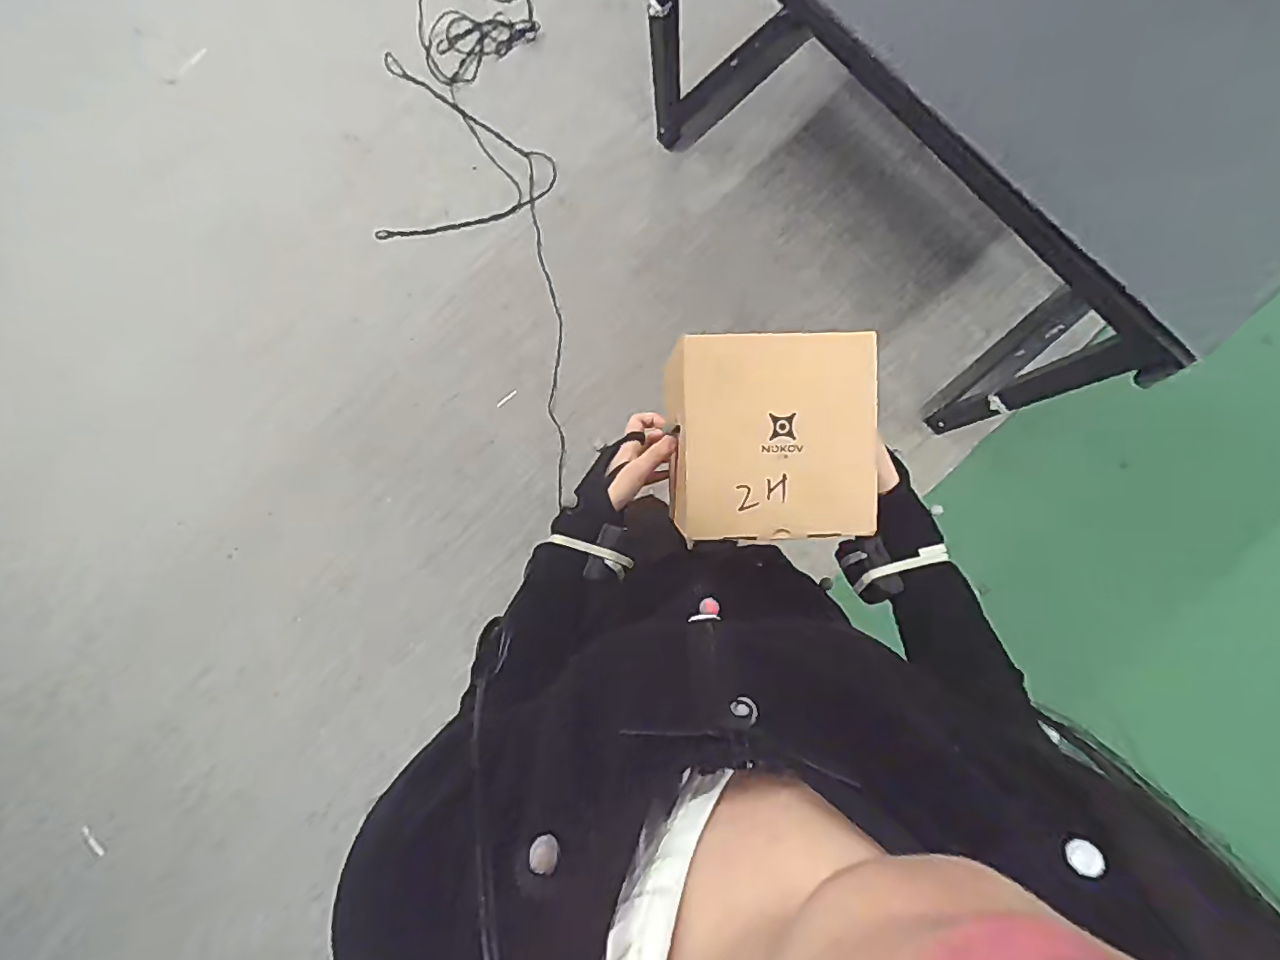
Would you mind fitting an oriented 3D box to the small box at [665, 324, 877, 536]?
[{"bbox_3d":[0.112,-0.043,0.527,0.168,0.176,0.179,-2,92,-1],"label":"small box"}]
